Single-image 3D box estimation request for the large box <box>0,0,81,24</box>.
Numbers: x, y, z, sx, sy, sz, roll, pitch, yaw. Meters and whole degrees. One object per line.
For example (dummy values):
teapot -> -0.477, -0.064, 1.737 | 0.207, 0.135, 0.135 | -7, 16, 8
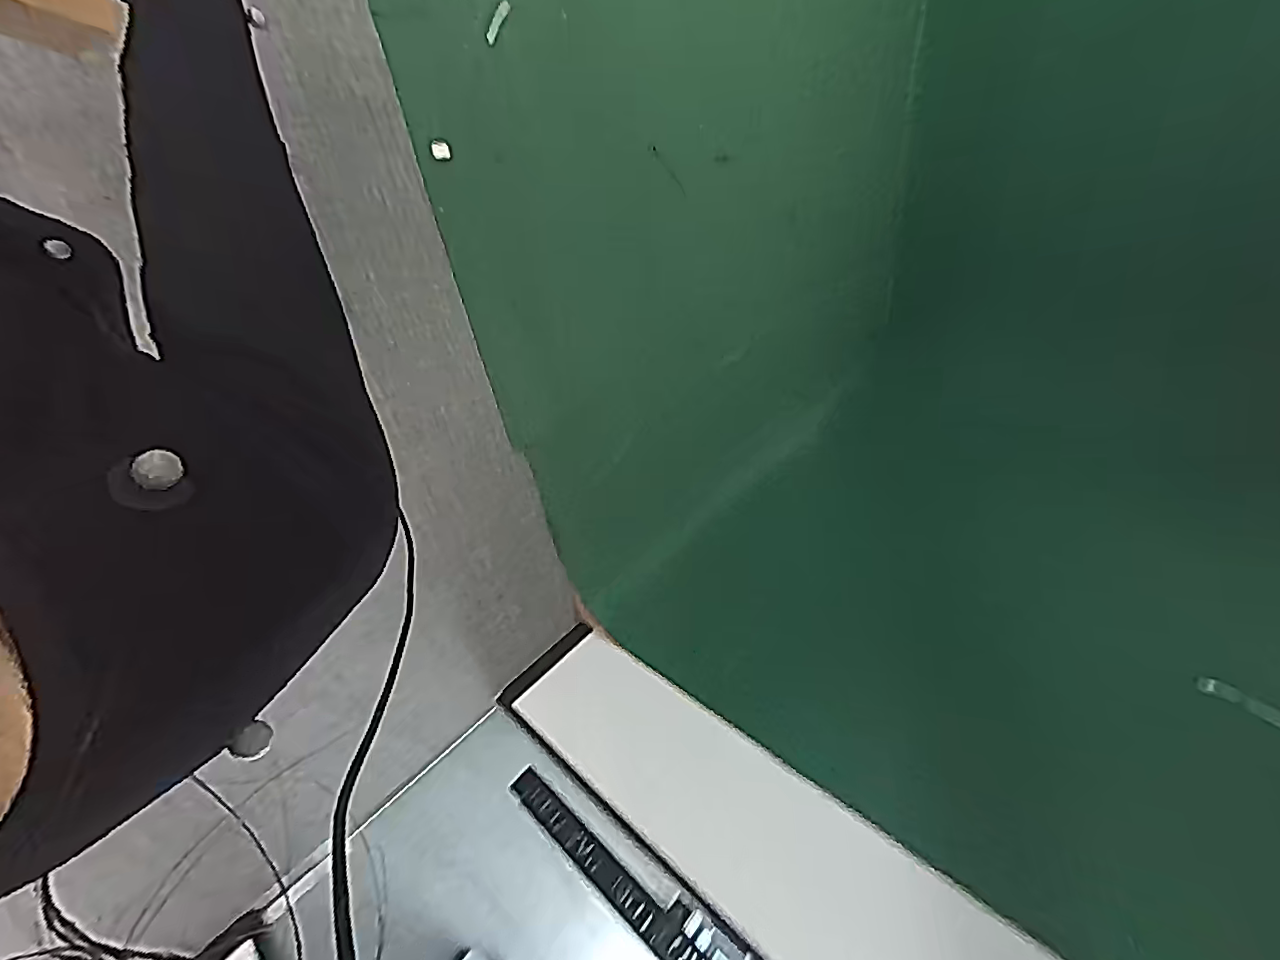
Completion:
large box -> -0.677, -0.573, 0.344 | 0.408, 0.320, 0.320 | -15, 125, -48
